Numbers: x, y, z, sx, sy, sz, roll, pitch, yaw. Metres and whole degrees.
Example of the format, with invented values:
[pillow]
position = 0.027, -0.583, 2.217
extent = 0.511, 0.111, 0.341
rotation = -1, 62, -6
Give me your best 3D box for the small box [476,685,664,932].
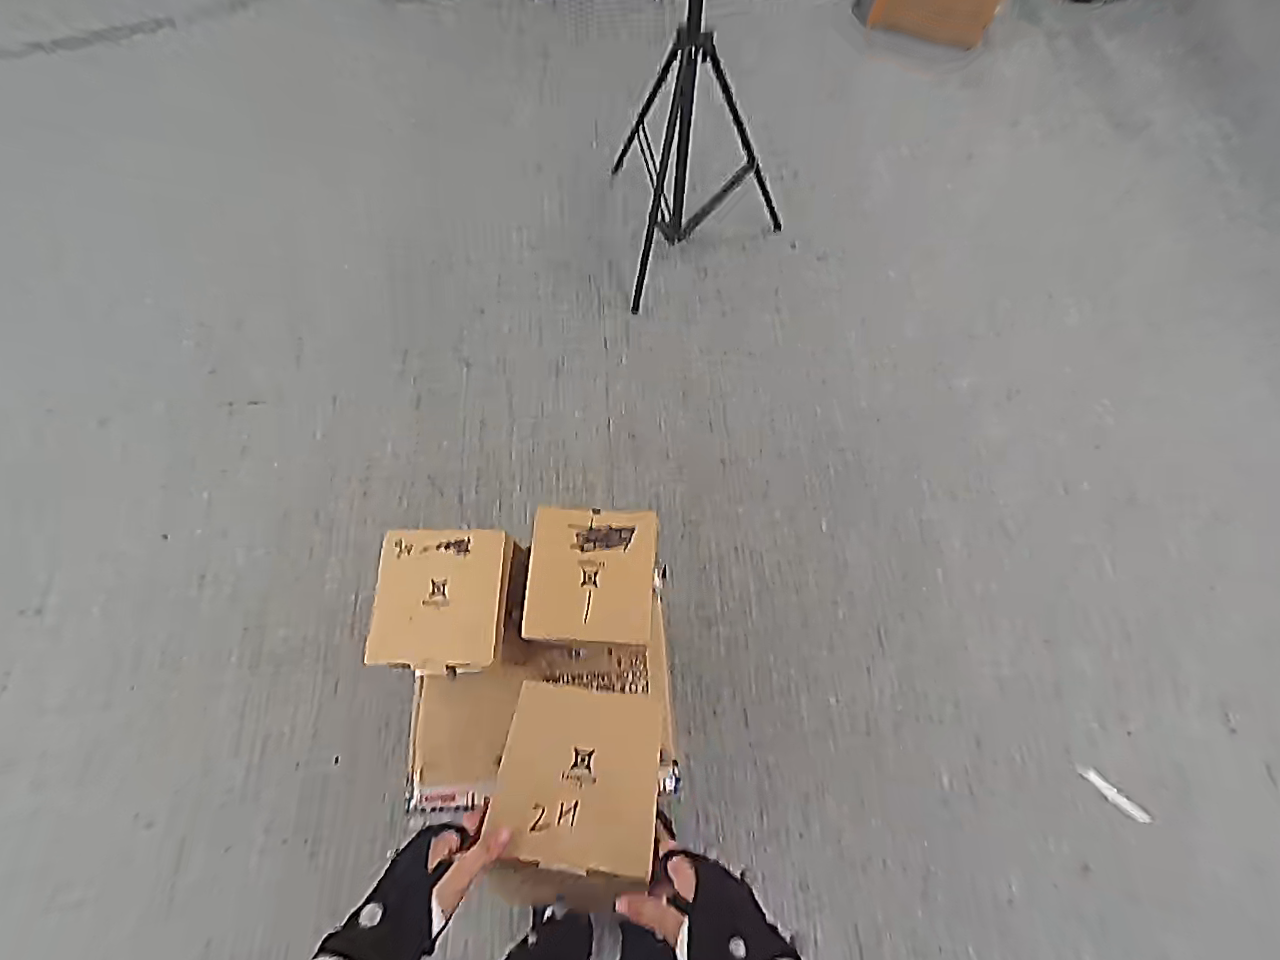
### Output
[small box]
position = -0.070, 0.361, 0.599
extent = 0.168, 0.176, 0.179
rotation = 8, 39, 1
